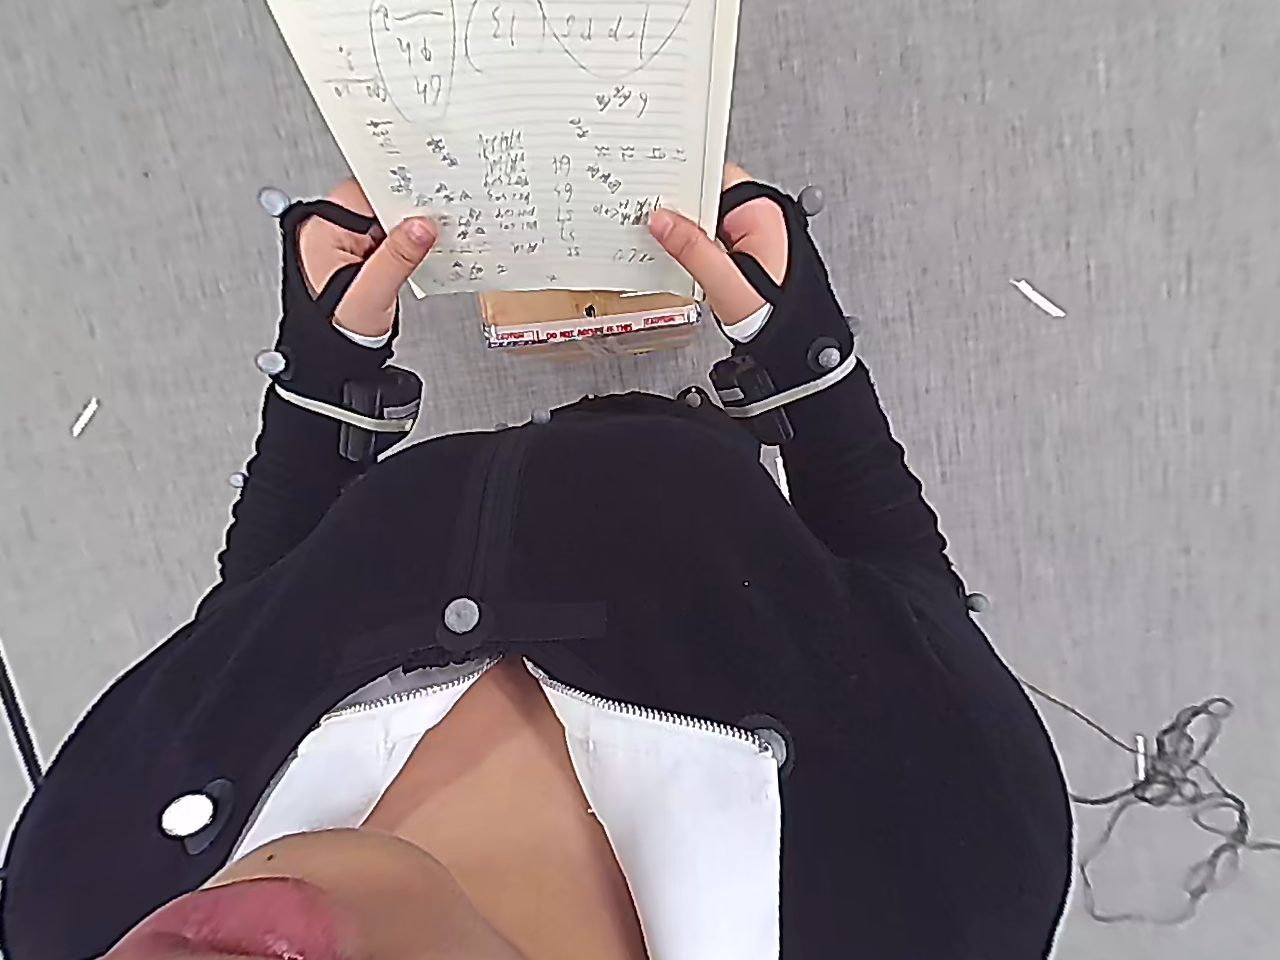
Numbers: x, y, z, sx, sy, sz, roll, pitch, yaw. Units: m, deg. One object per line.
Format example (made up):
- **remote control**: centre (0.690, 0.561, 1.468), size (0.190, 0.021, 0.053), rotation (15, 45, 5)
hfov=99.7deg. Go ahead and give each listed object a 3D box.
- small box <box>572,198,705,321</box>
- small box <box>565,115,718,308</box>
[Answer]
- **small box**: centre (-0.001, -0.362, 0.871), size (0.179, 0.176, 0.168), rotation (-10, 99, 2)
- **small box**: centre (0.002, -0.336, 0.708), size (0.168, 0.176, 0.179), rotation (-7, 100, 1)
